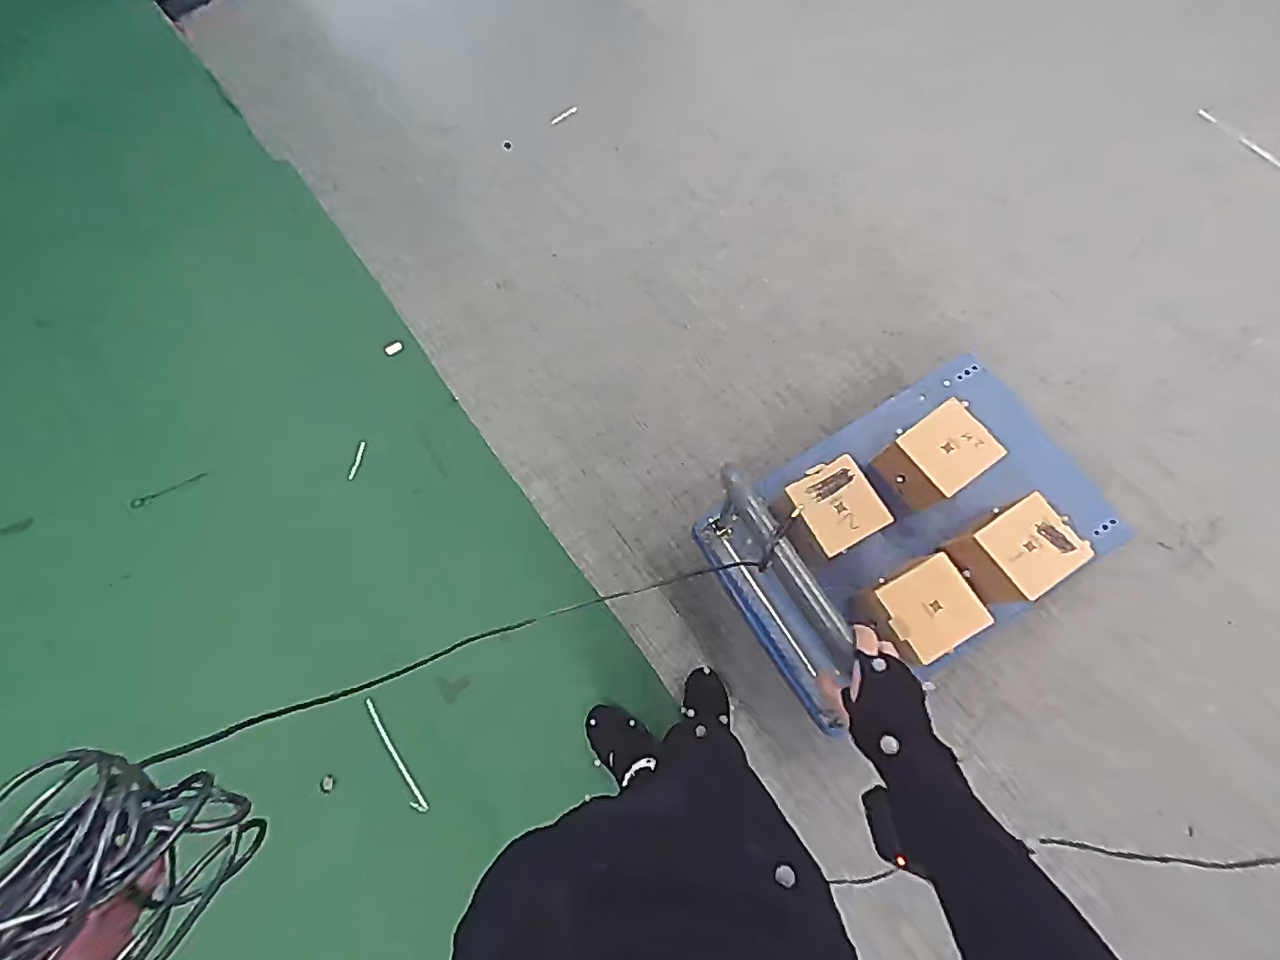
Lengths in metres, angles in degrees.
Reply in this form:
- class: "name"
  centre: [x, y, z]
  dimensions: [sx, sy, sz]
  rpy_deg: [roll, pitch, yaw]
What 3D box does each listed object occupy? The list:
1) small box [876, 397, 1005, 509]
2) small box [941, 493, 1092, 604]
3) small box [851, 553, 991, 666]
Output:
- class: "small box"
  centre: [0.675, -0.053, 1.247]
  dimensions: [0.179, 0.176, 0.168]
  rpy_deg: [-35, 76, -6]
- class: "small box"
  centre: [0.809, 0.154, 1.183]
  dimensions: [0.179, 0.176, 0.168]
  rpy_deg: [-33, 75, -5]
- class: "small box"
  centre: [0.593, 0.277, 1.165]
  dimensions: [0.179, 0.176, 0.168]
  rpy_deg: [-30, 75, -4]
